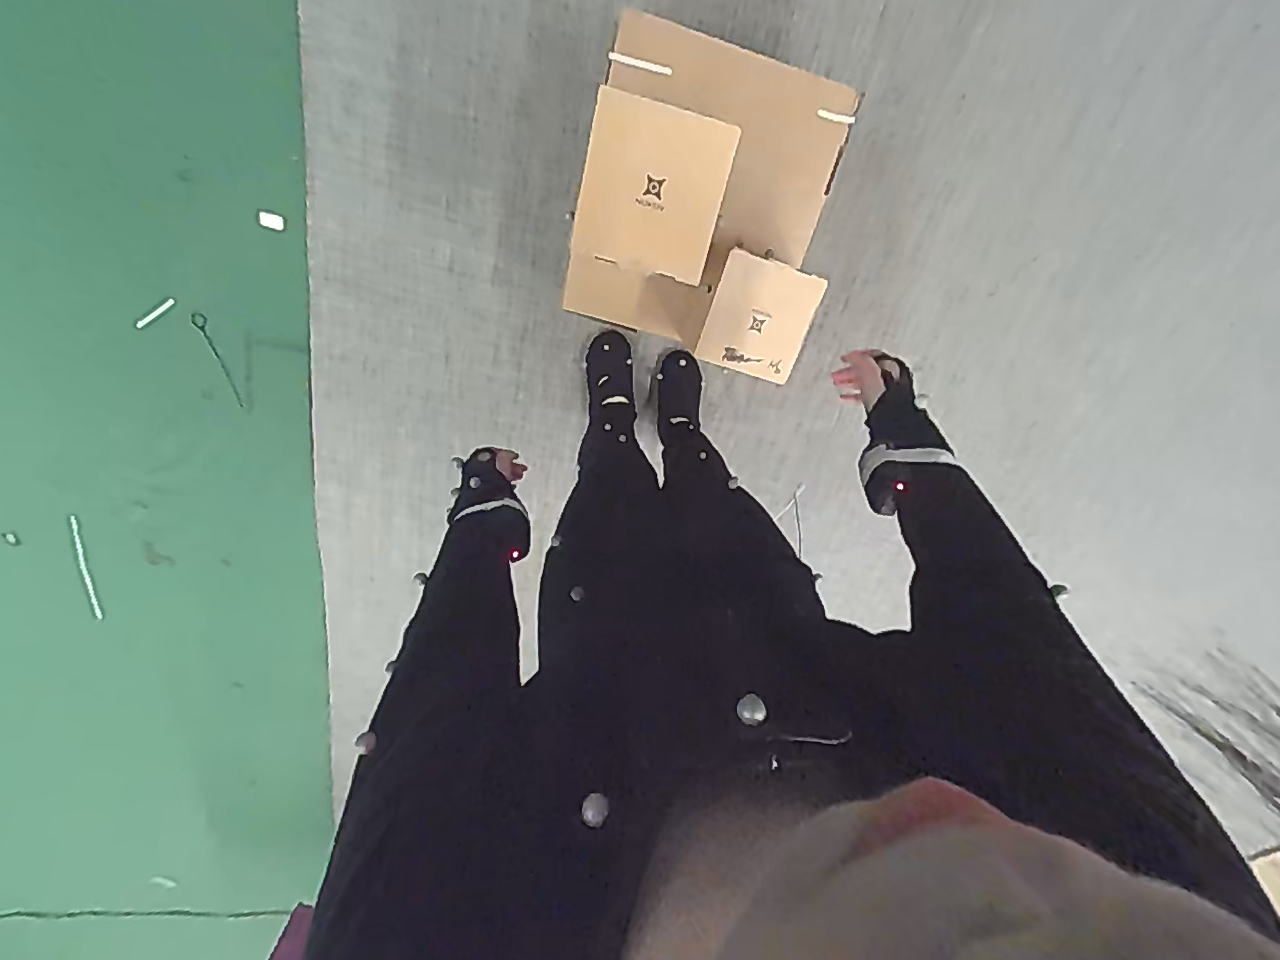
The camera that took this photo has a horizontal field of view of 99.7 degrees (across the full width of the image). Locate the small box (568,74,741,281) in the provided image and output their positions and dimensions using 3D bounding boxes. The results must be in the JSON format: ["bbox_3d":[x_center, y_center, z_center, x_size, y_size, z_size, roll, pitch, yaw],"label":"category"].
[{"bbox_3d":[0.009,-0.375,0.694,0.168,0.176,0.179,13,115,-8],"label":"small box"}]

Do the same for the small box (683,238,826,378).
[{"bbox_3d":[0.179,-0.295,0.916,0.168,0.176,0.179,15,112,-9],"label":"small box"}]
